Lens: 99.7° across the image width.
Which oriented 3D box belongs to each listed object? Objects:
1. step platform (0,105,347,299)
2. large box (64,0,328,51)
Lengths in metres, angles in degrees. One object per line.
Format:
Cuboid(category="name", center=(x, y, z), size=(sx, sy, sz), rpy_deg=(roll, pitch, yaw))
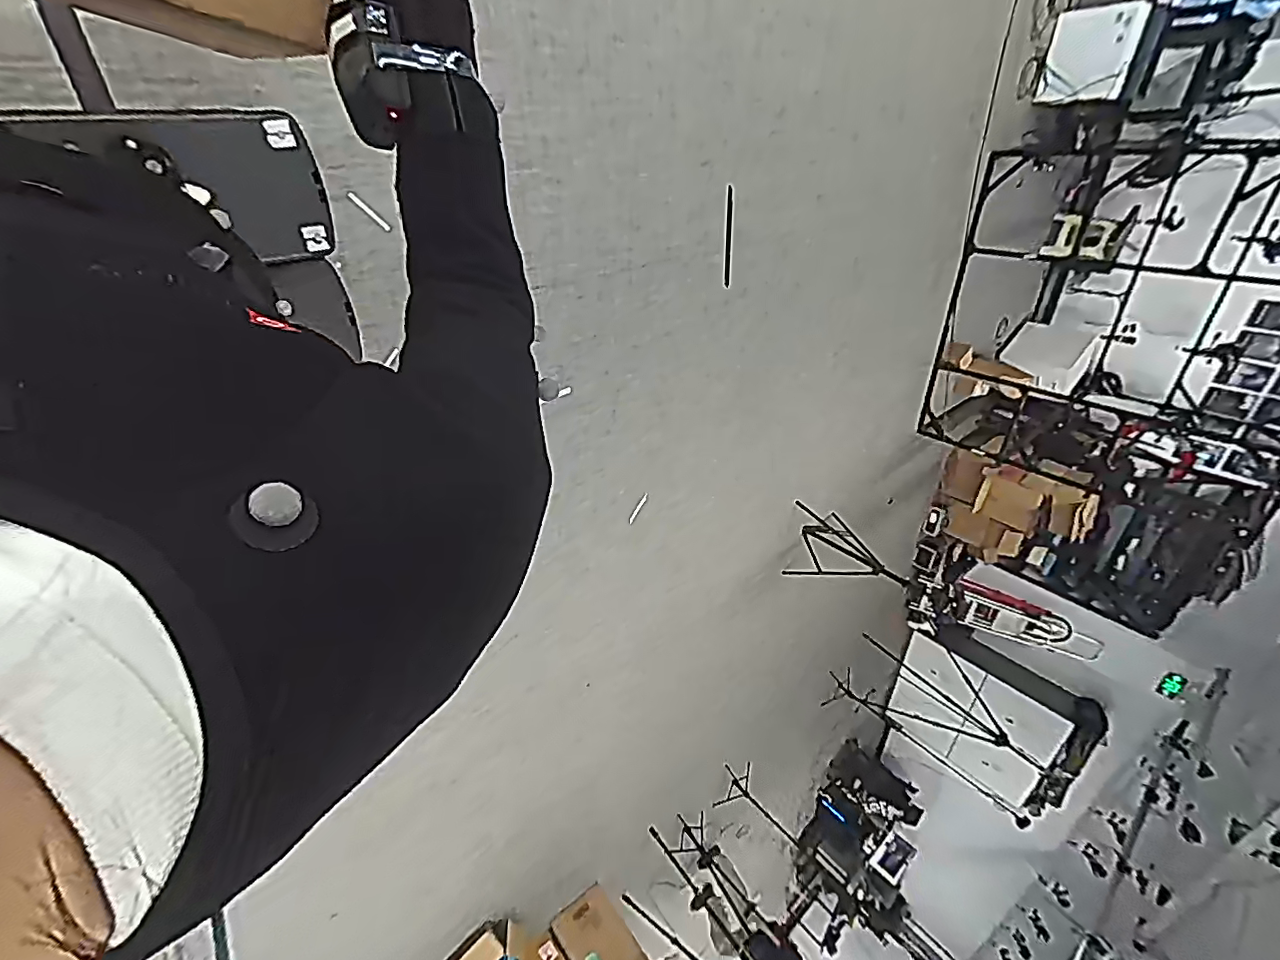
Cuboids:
Cuboid(category="step platform", center=(-0.971, -0.564, 1.066), size=(0.684, 0.204, 0.286), rpy_deg=(-27, 130, -32))
Cuboid(category="large box", center=(-0.424, -0.468, 0.266), size=(0.408, 0.320, 0.320), rpy_deg=(-11, 127, -41))
